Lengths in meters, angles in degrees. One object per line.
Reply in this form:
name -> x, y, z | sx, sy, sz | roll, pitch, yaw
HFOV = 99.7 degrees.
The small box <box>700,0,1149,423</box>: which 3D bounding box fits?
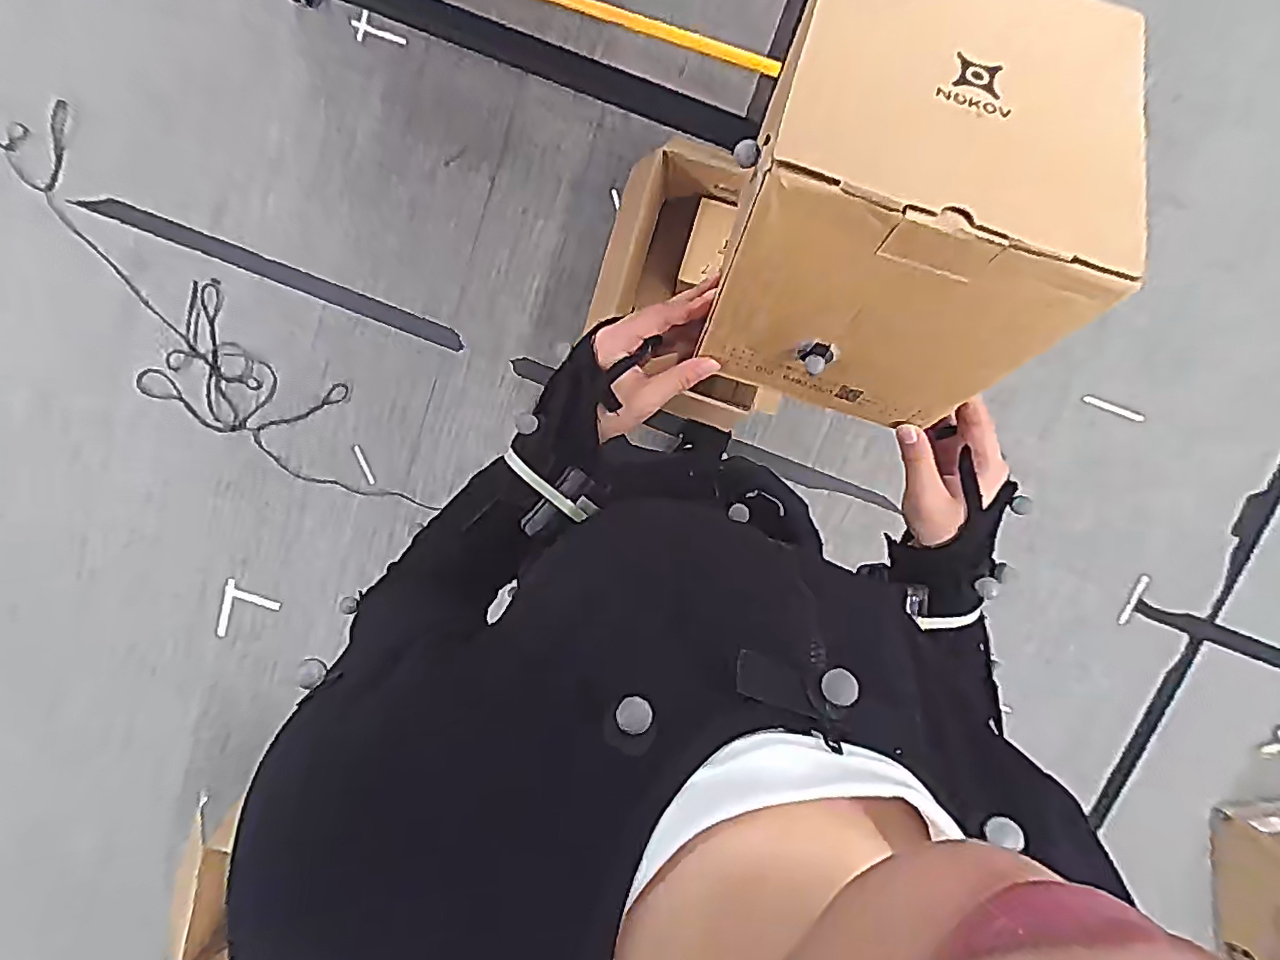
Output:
small box -> 0.144, -0.161, 0.323 | 0.168, 0.176, 0.179 | 17, 73, 0
